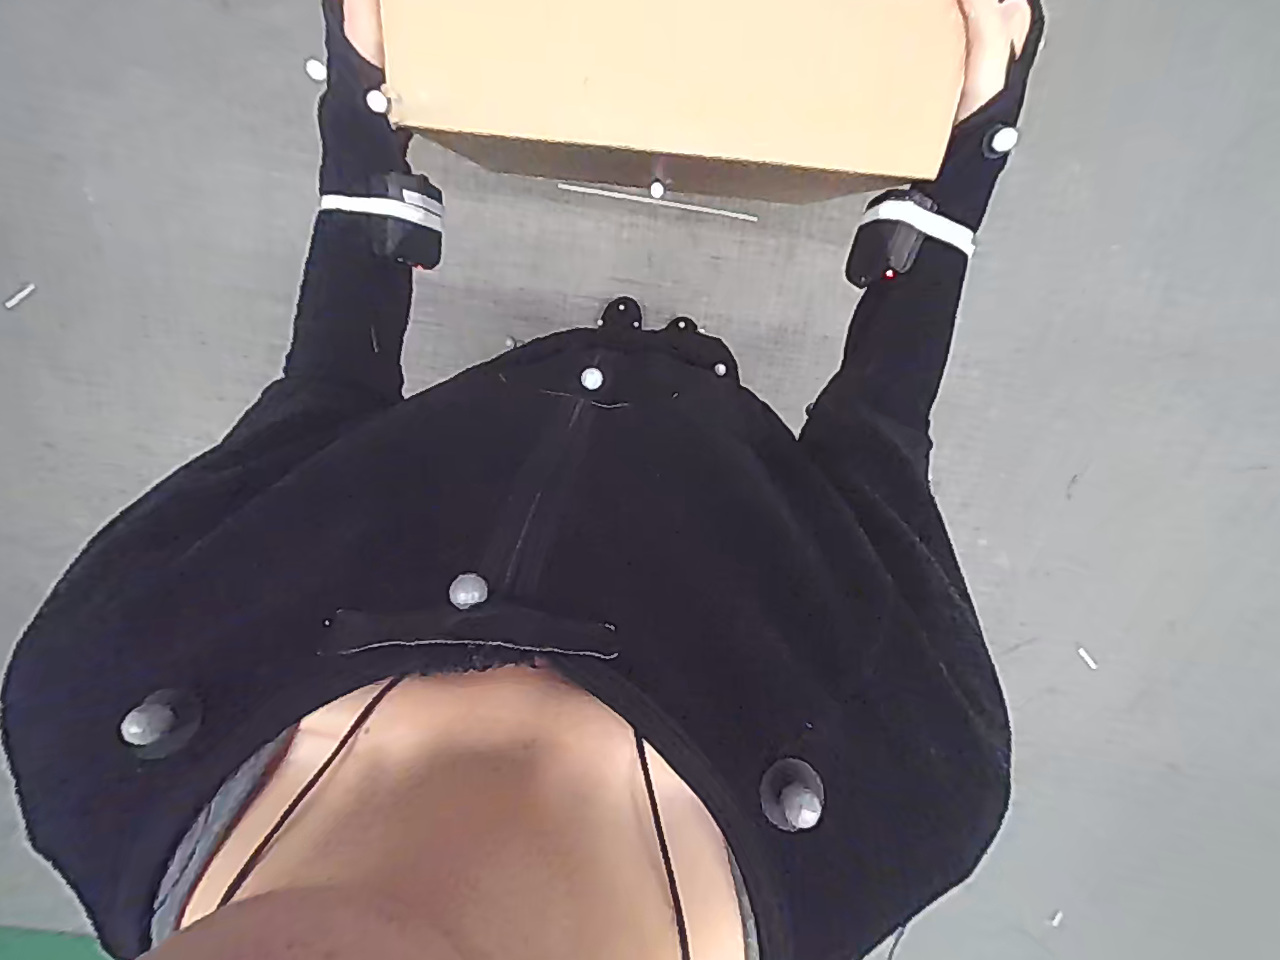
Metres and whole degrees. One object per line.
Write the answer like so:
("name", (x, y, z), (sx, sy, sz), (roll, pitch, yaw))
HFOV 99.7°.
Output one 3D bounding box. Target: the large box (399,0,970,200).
("large box", (0.035, -0.443, 0.487), (0.408, 0.320, 0.320), (4, 113, -3))
